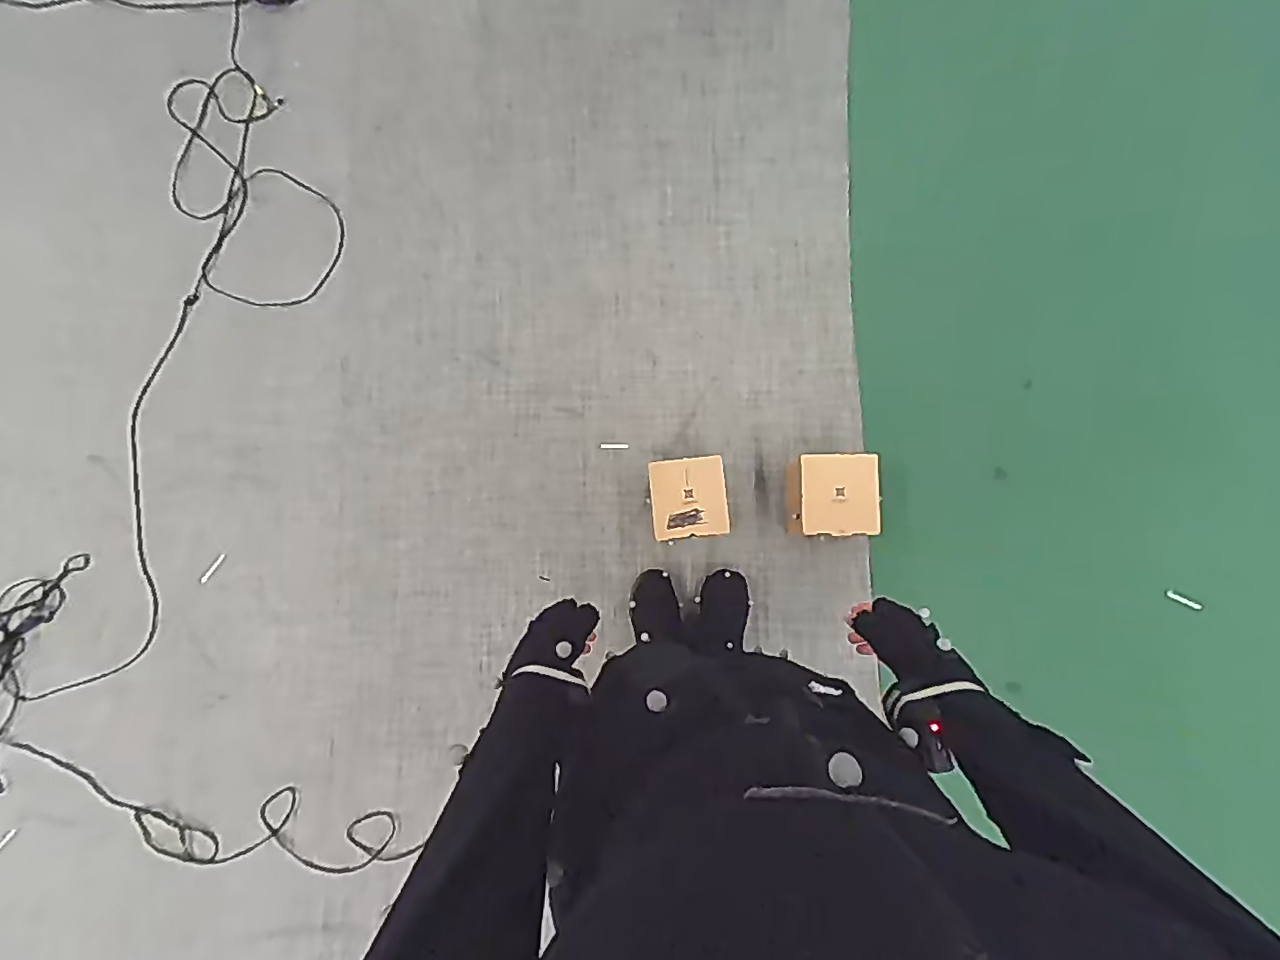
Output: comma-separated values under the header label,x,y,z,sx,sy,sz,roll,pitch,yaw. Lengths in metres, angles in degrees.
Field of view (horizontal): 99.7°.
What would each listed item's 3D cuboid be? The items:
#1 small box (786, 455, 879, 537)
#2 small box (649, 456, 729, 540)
label,x,y,z,sx,sy,sz,roll,pitch,yaw
small box,0.436,0.041,1.249,0.168,0.176,0.179,0,85,4
small box,0.113,0.047,1.267,0.168,0.176,0.179,-5,83,3
